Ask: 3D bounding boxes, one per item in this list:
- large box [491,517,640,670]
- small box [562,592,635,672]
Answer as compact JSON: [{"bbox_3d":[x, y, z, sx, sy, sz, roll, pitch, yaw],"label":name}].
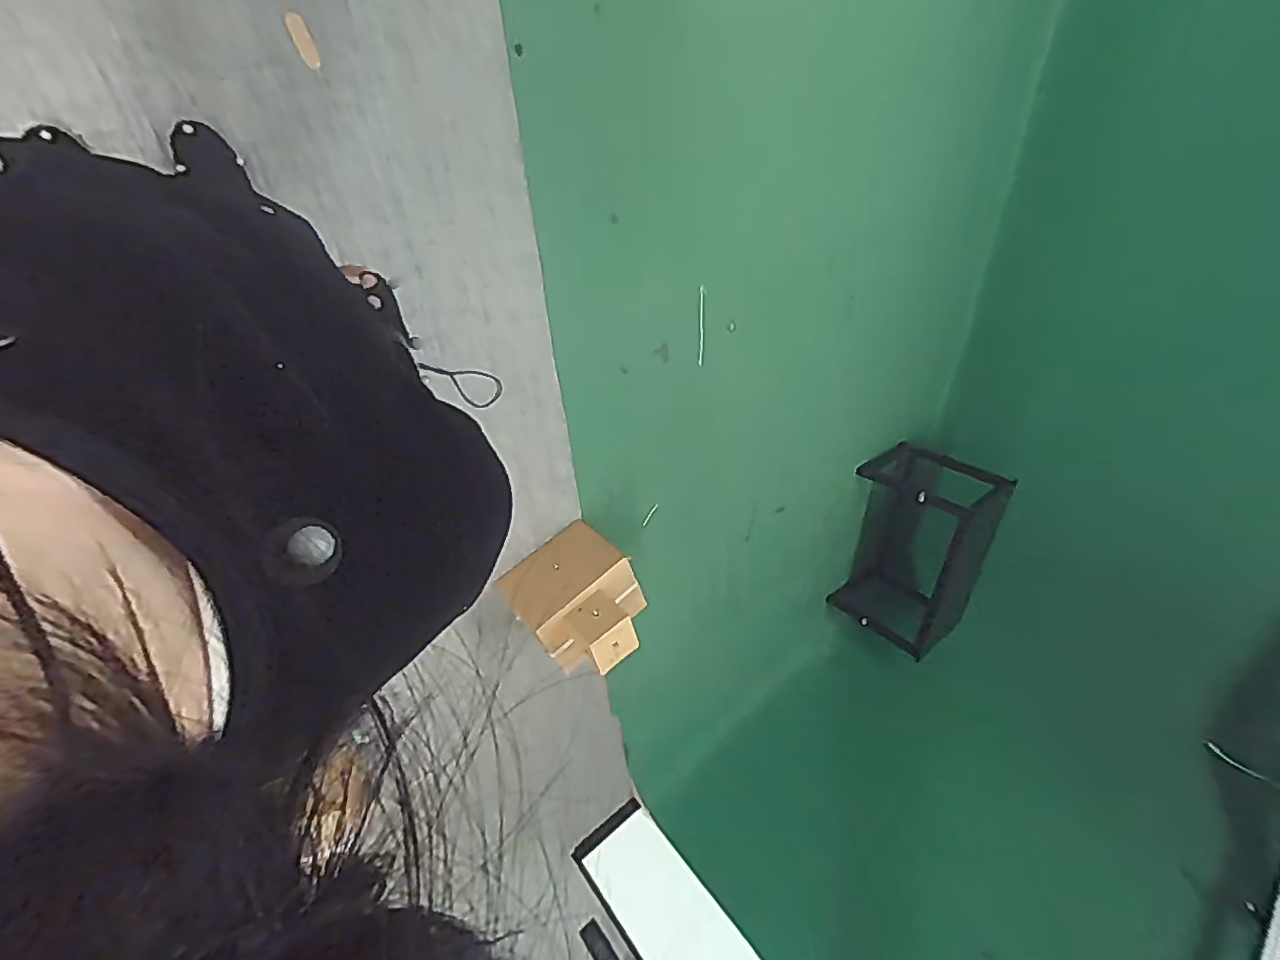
[{"bbox_3d":[-0.274,0.417,2.040,0.408,0.320,0.320,-39,136,-21],"label":"large box"},{"bbox_3d":[-0.144,0.508,1.847,0.168,0.176,0.179,-33,132,-24],"label":"small box"}]
